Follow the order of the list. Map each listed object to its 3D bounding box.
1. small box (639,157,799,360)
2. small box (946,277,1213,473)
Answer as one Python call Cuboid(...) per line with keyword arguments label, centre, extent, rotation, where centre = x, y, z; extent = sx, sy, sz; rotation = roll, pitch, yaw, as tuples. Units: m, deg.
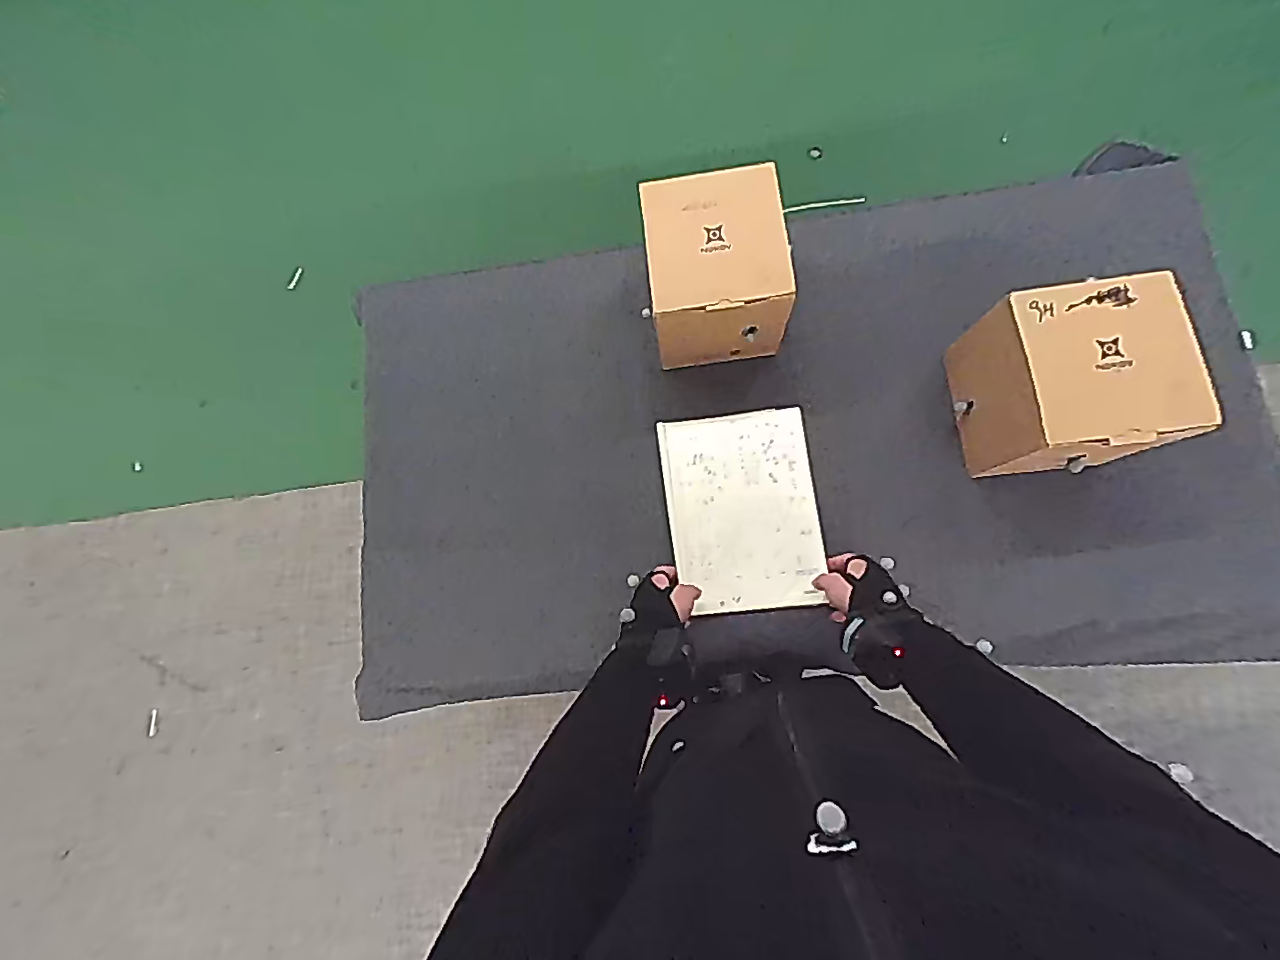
Cuboid(label="small box", centre=(0.096, -0.267, 0.696), extent=(0.168, 0.176, 0.179), rotation=(-8, 78, 3))
Cuboid(label="small box", centre=(0.494, -0.108, 0.640), extent=(0.168, 0.176, 0.179), rotation=(-6, 80, 5))
